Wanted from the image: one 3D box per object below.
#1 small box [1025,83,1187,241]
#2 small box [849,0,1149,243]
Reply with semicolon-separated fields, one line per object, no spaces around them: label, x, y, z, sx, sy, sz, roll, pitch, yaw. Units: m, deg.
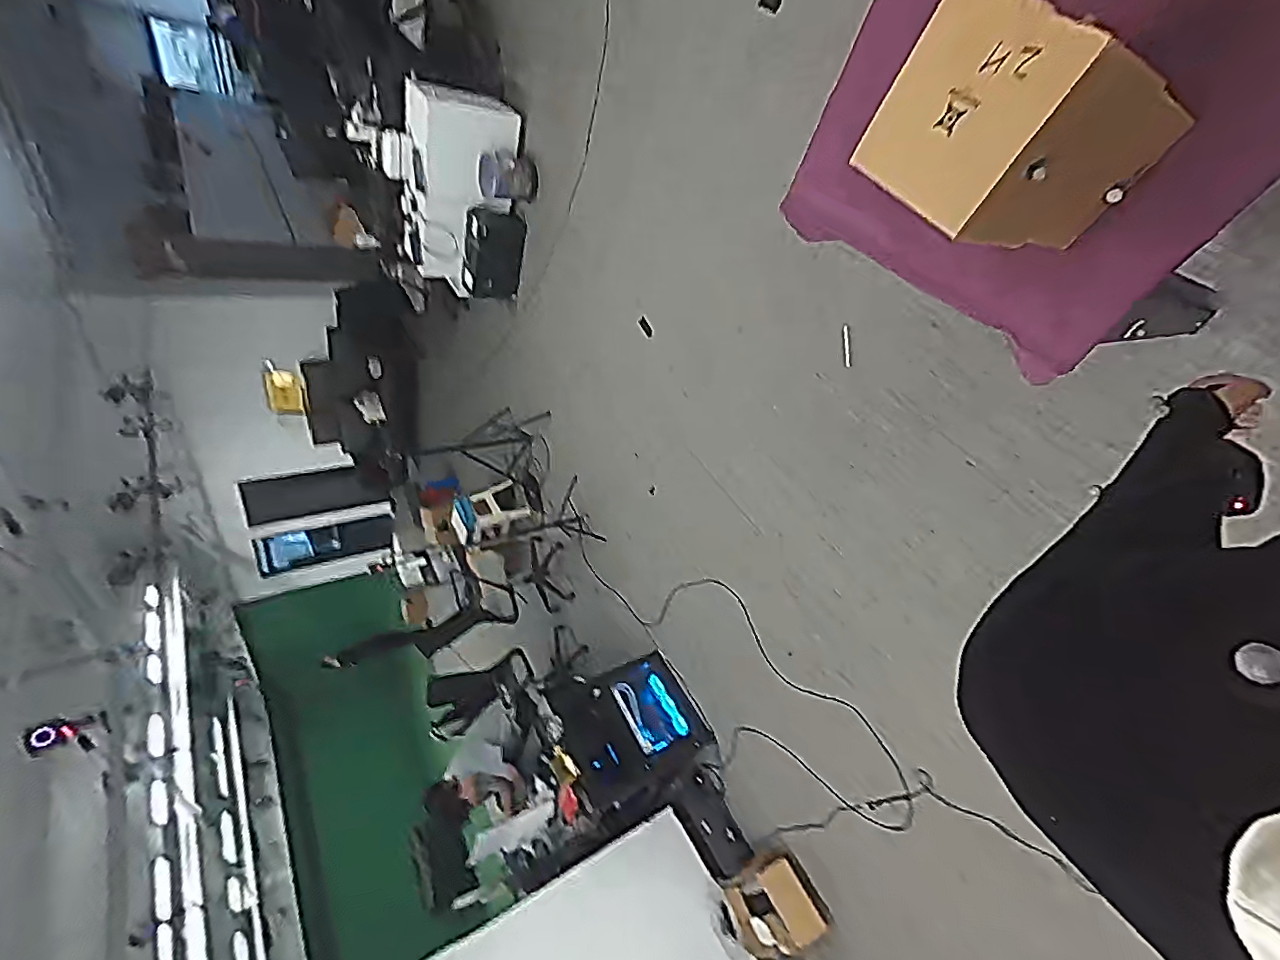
small box;0.503;-0.416;0.668;0.179;0.176;0.168;59;142;24
small box;0.373;-0.374;0.575;0.168;0.176;0.179;57;141;26
